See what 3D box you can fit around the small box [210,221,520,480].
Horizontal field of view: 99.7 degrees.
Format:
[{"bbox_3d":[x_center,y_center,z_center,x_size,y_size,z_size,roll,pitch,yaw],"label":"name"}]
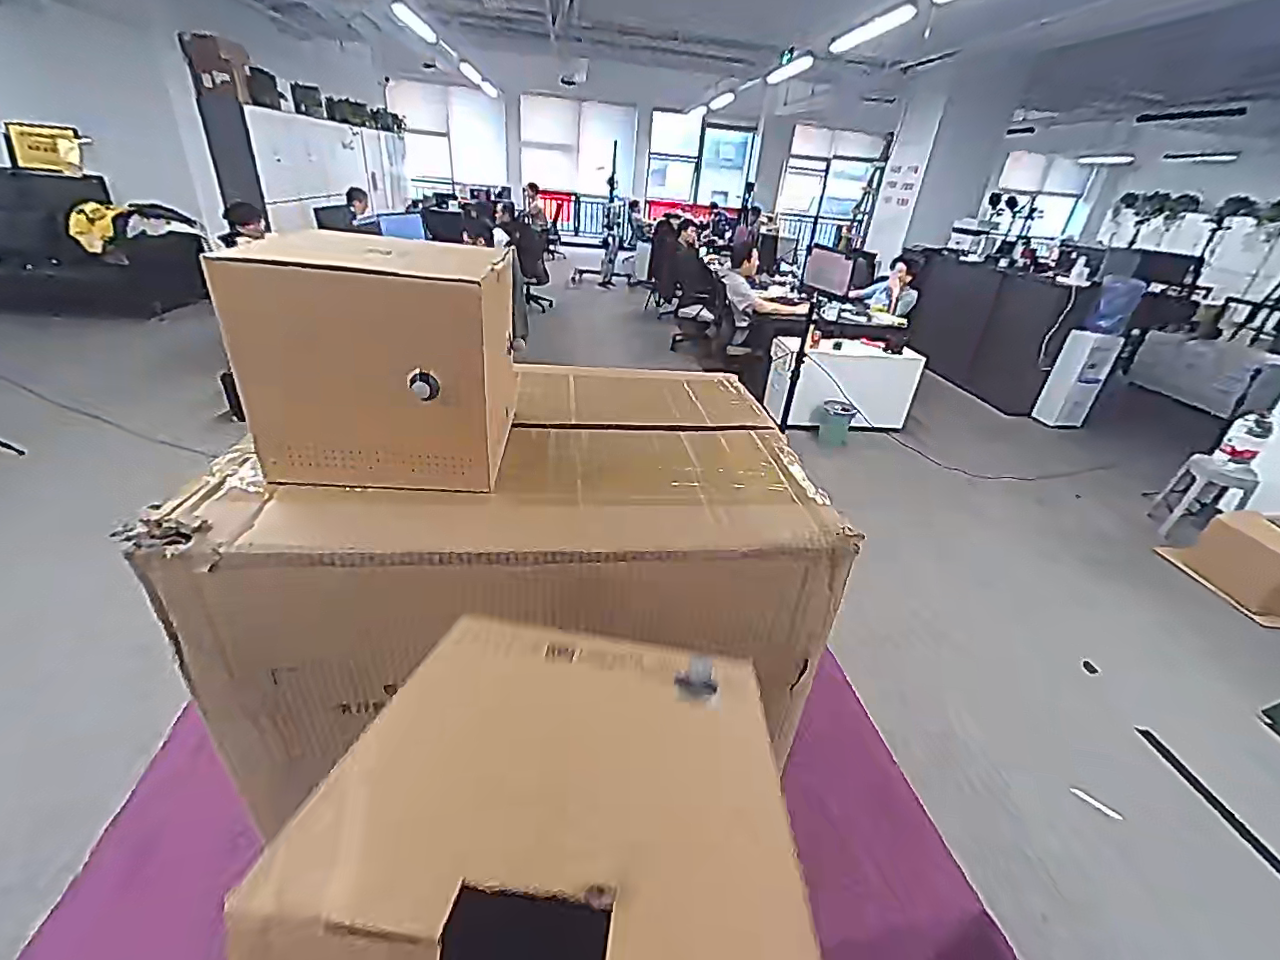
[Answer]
[{"bbox_3d":[-0.196,-0.110,0.453,0.179,0.176,0.168,2,29,-7],"label":"small box"}]
